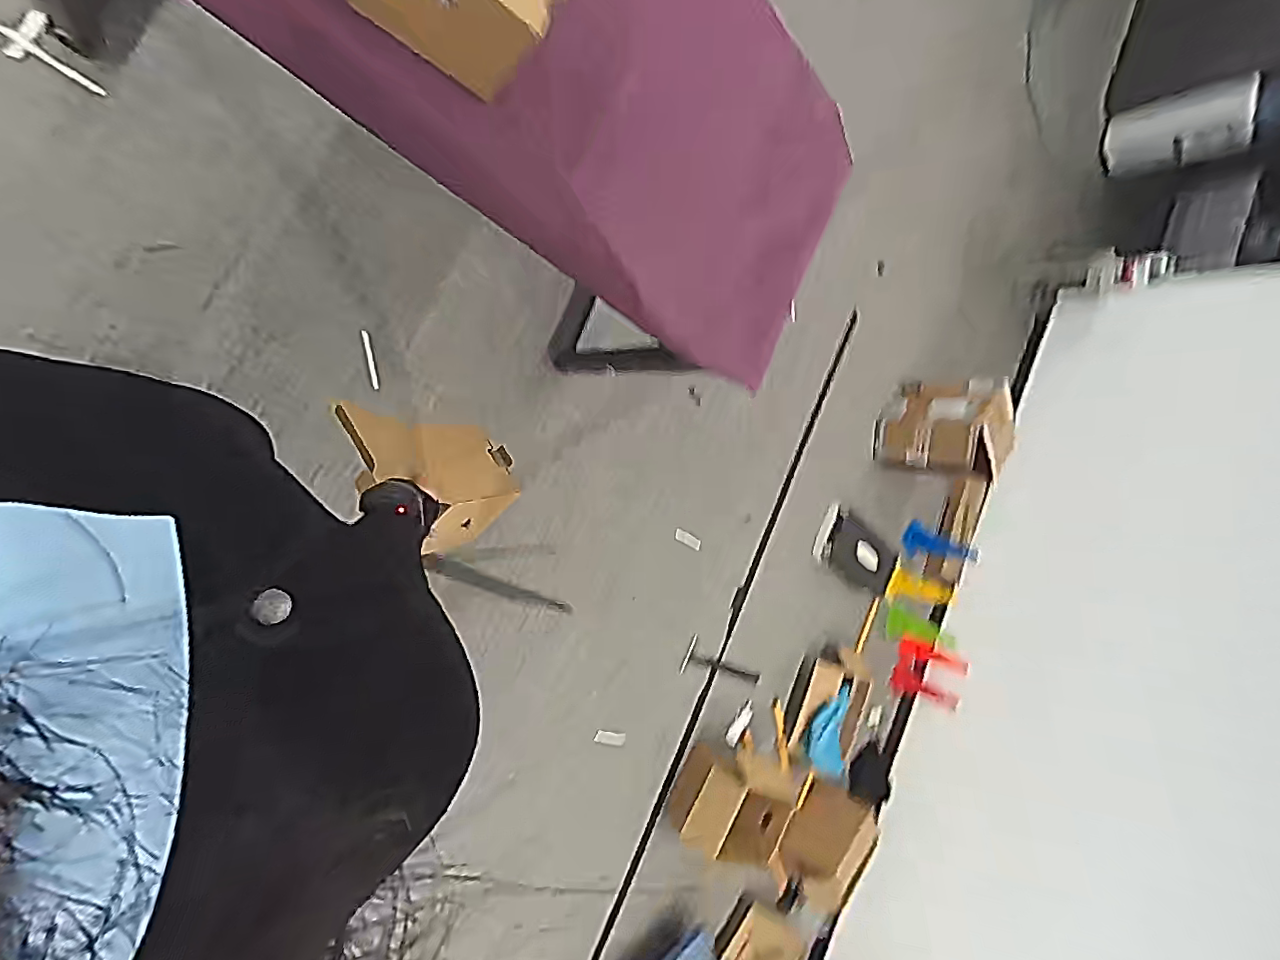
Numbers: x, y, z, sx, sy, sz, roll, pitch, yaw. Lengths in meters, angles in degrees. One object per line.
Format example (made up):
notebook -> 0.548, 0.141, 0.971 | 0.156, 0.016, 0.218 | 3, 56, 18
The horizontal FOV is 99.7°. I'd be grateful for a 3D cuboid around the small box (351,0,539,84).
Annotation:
small box -> -0.212, -0.598, 0.604 | 0.179, 0.176, 0.168 | 16, 88, -38
